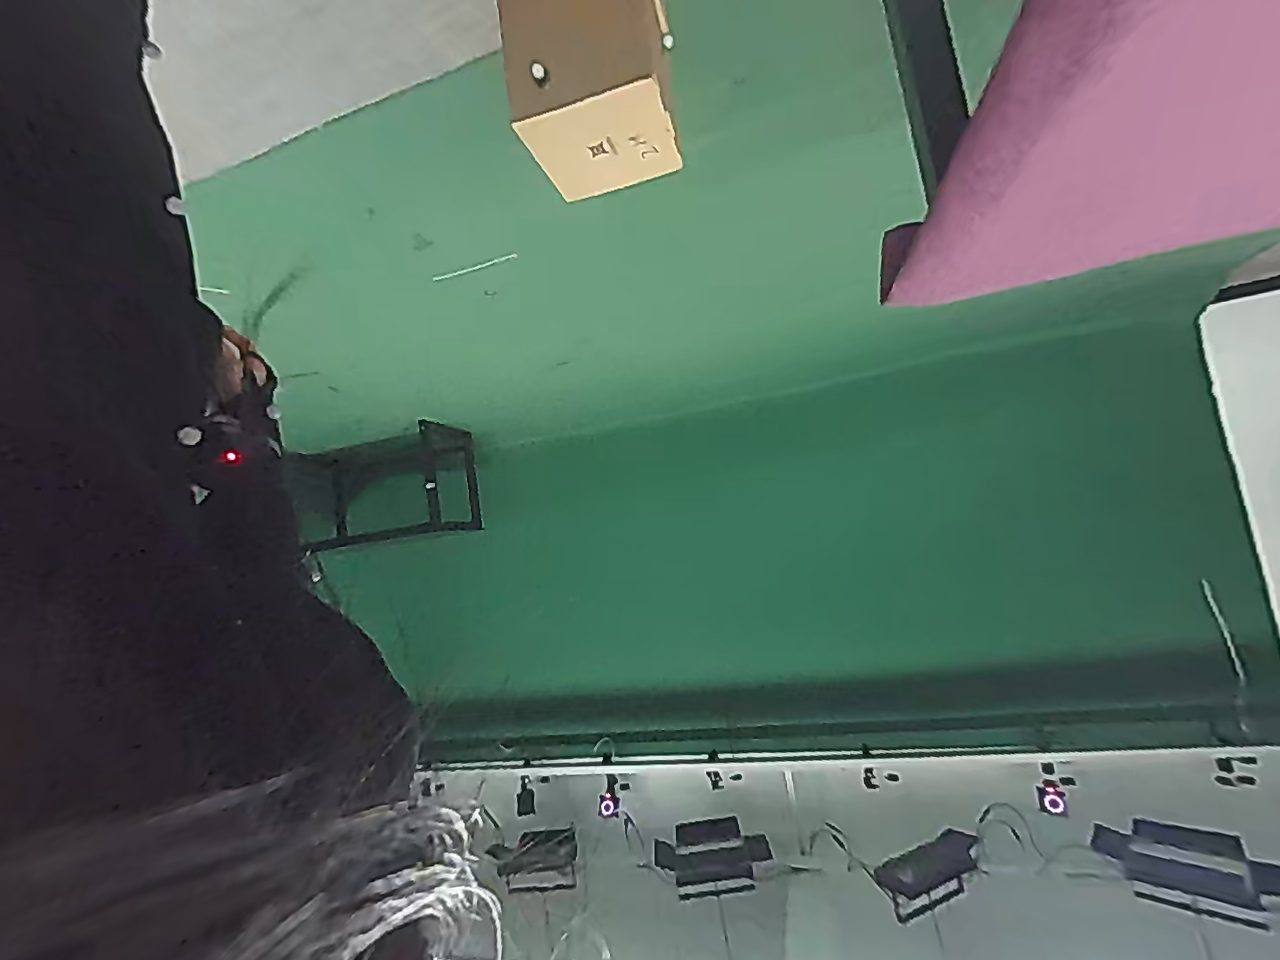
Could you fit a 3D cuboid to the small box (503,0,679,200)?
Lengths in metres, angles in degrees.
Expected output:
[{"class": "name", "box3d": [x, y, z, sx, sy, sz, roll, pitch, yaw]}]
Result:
[{"class": "small box", "box3d": [-0.059, -0.496, 0.681, 0.179, 0.176, 0.168, -9, 175, 15]}]
